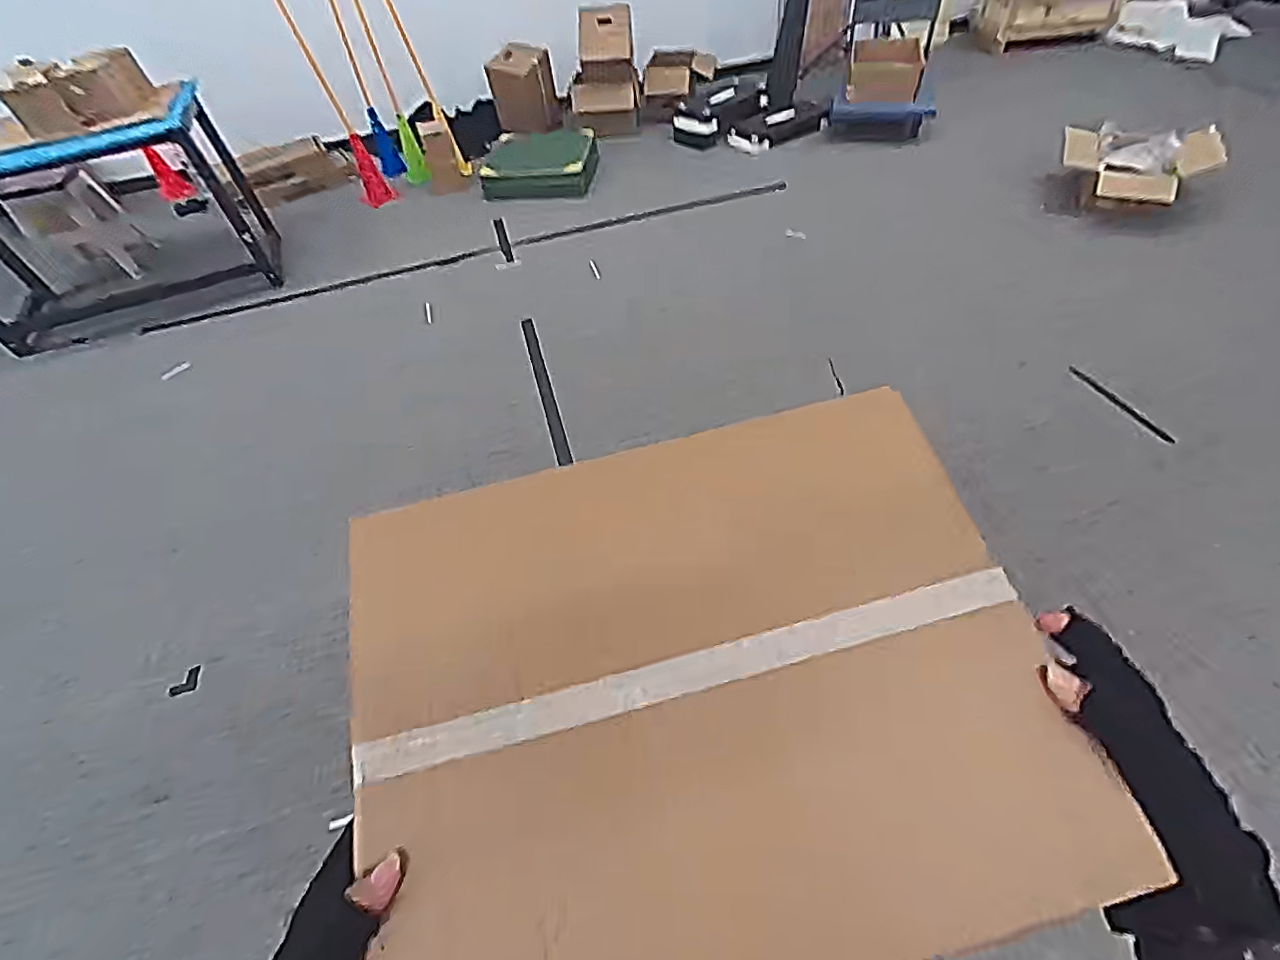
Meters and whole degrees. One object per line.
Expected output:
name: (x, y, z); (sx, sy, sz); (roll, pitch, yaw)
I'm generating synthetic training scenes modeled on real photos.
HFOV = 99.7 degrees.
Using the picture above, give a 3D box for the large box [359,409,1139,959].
large box: (0.042, 0.191, 0.463); (0.408, 0.320, 0.320); (-15, 64, -4)
